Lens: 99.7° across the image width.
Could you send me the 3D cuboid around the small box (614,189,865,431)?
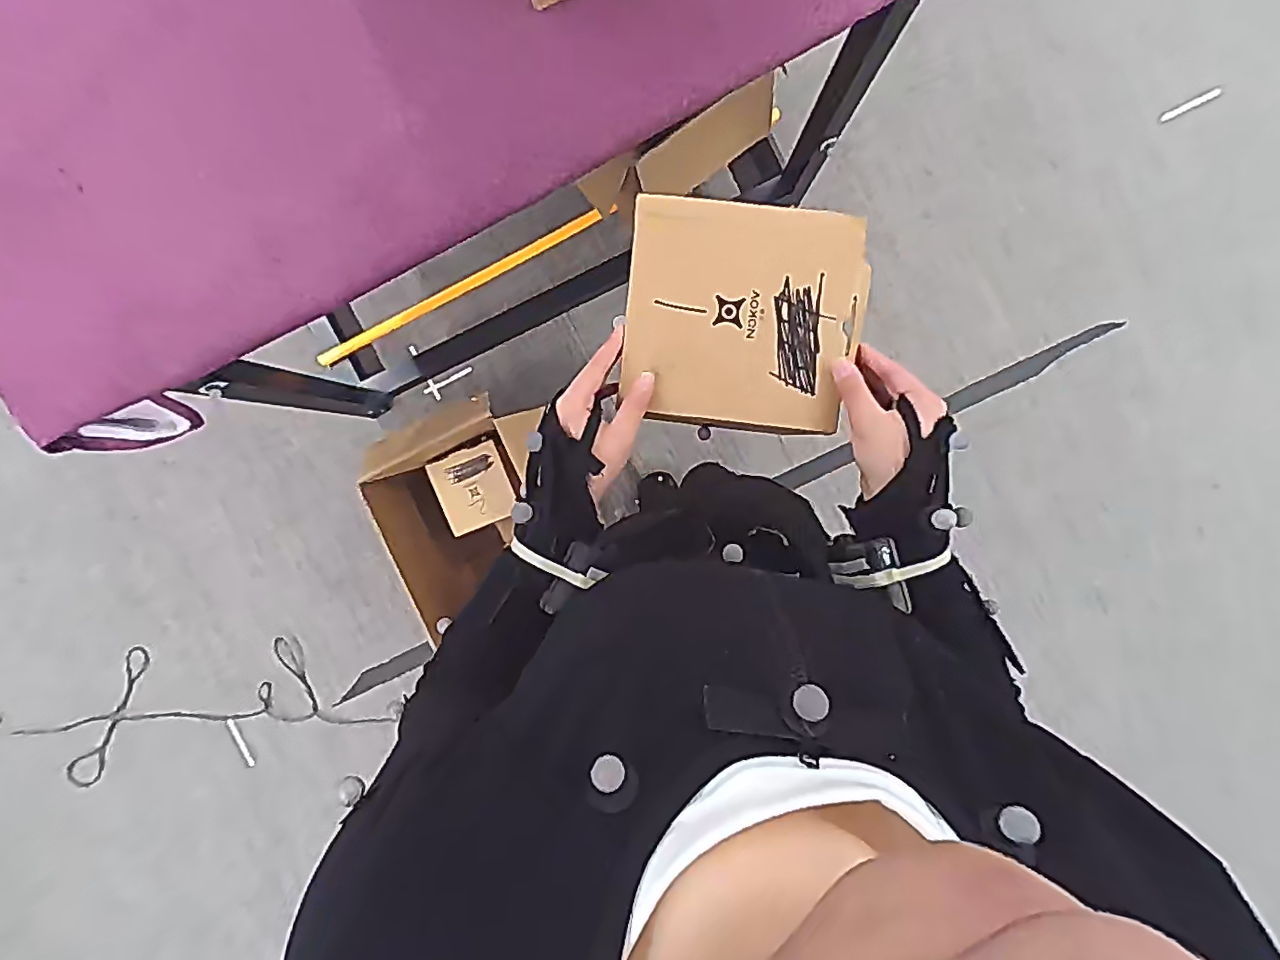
[{"bbox_3d":[0.076,-0.136,0.491,0.179,0.176,0.168,6,95,2],"label":"small box"}]
